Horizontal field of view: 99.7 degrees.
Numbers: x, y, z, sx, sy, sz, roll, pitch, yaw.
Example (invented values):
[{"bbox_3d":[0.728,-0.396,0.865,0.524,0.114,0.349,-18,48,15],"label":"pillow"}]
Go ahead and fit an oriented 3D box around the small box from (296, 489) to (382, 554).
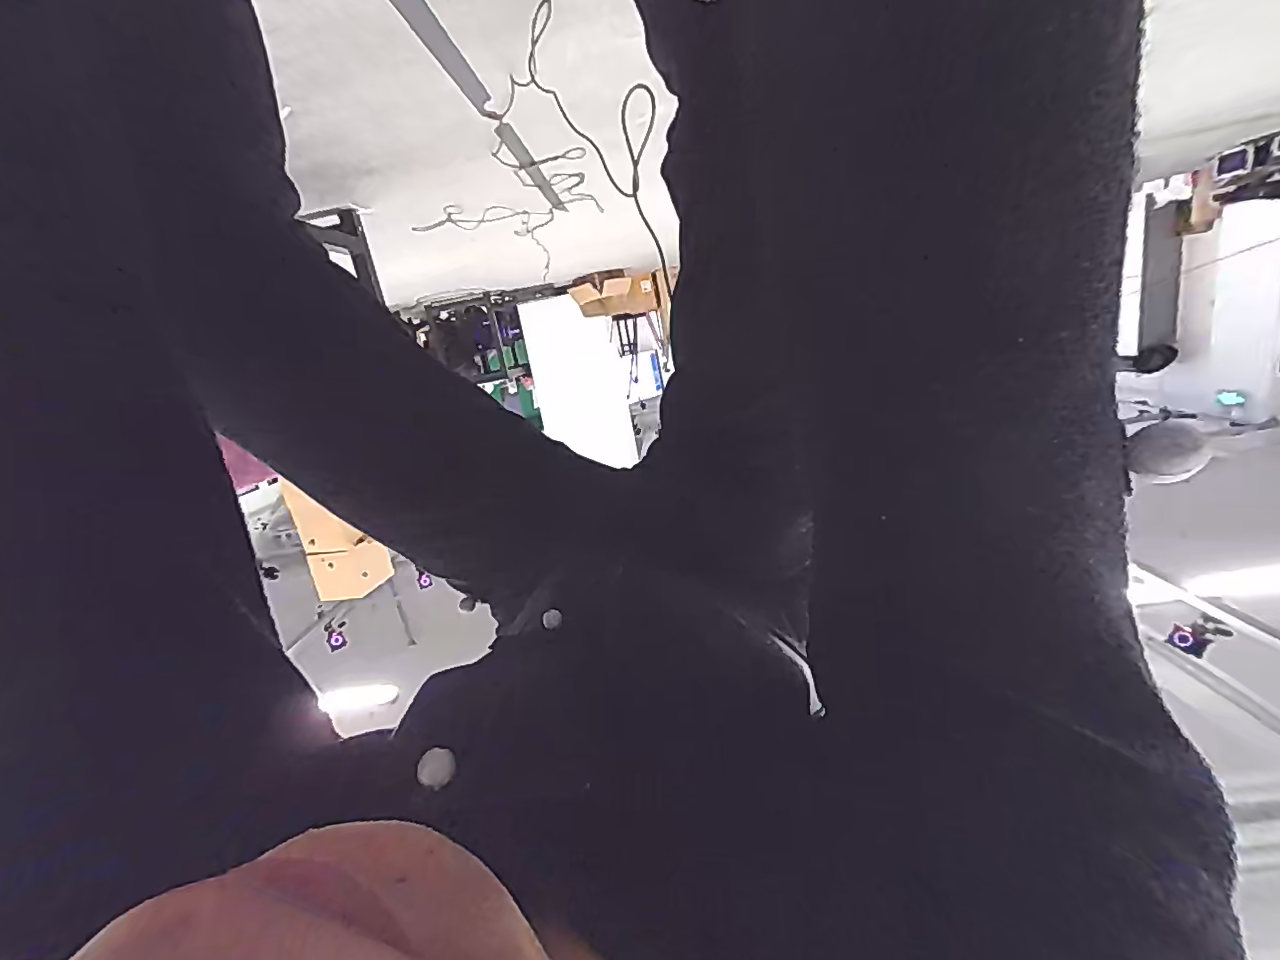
[{"bbox_3d":[-1.004,0.133,1.800,0.179,0.176,0.168,-7,-164,16],"label":"small box"}]
